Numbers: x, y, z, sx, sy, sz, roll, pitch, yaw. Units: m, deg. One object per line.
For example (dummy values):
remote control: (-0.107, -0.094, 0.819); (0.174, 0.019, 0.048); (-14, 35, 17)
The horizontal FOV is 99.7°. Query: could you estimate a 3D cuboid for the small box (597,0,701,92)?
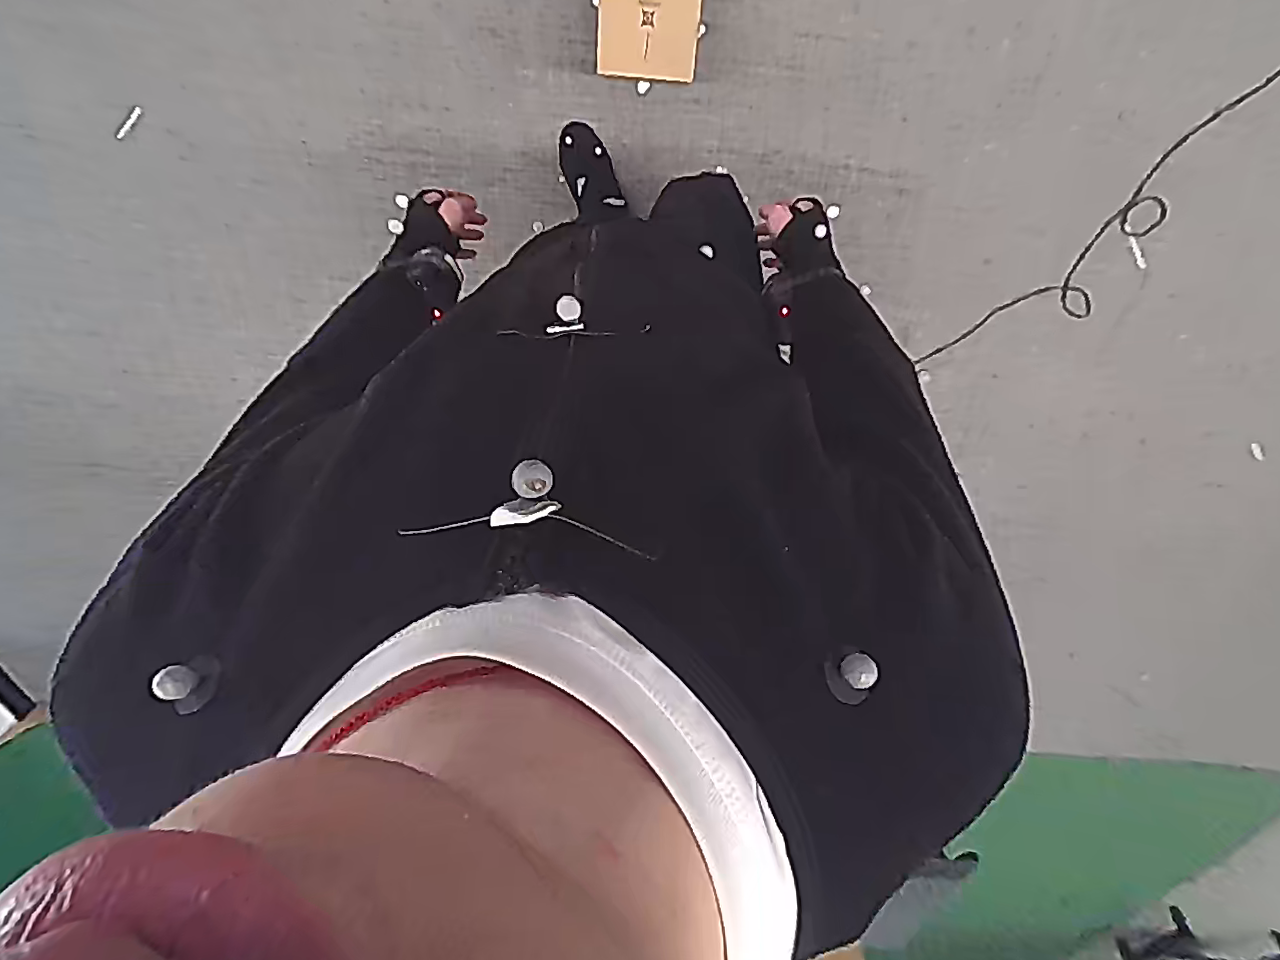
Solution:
small box: (0.015, -0.793, 0.941); (0.168, 0.176, 0.179); (4, 124, -1)
